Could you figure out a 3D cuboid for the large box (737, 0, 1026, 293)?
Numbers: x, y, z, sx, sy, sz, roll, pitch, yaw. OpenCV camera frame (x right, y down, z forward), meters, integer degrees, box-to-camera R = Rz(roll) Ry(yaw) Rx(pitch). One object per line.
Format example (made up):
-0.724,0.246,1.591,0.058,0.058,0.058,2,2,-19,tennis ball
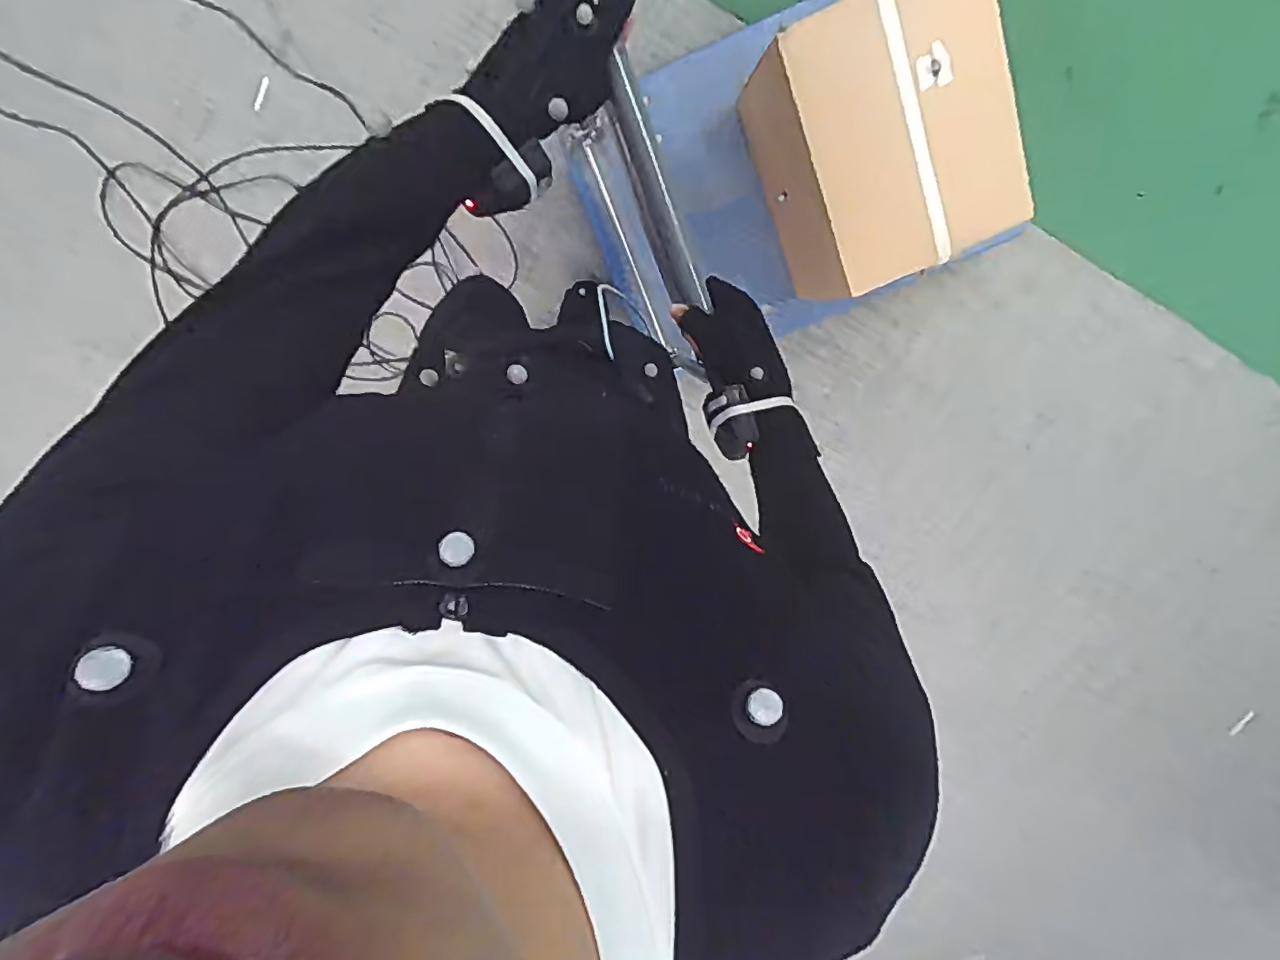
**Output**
0.411,-0.597,0.984,0.320,0.320,0.408,-24,108,5,large box
